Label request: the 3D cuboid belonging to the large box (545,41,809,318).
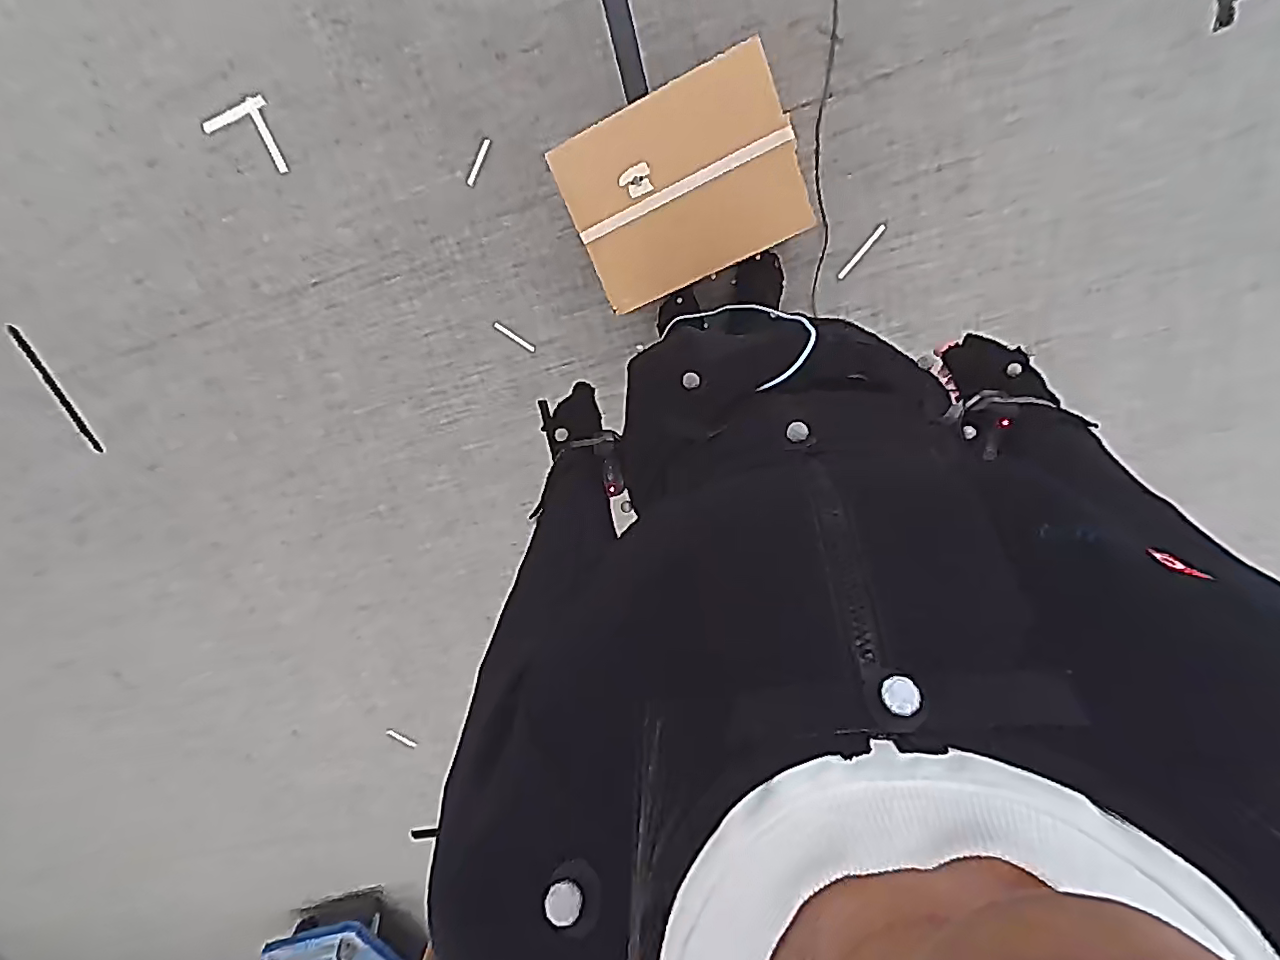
[{"bbox_3d":[0.083,-0.576,1.108,0.408,0.320,0.320,-20,108,15],"label":"large box"}]
